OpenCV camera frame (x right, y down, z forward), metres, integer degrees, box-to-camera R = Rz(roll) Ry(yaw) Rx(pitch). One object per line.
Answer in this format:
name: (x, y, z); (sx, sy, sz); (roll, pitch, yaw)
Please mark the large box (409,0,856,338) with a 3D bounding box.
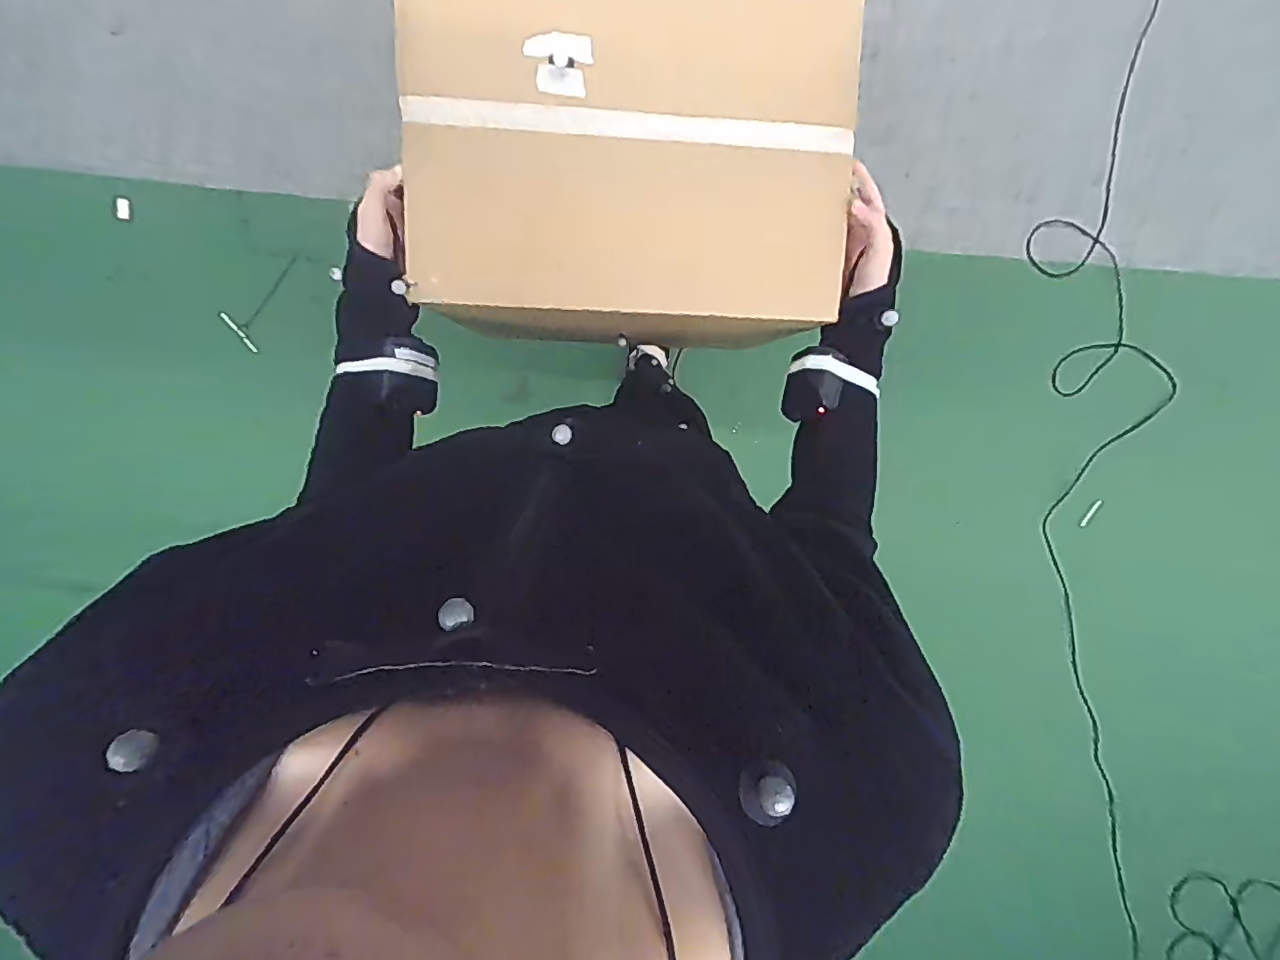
large box: (-0.013, -0.340, 0.641); (0.408, 0.320, 0.320); (1, 99, -4)
